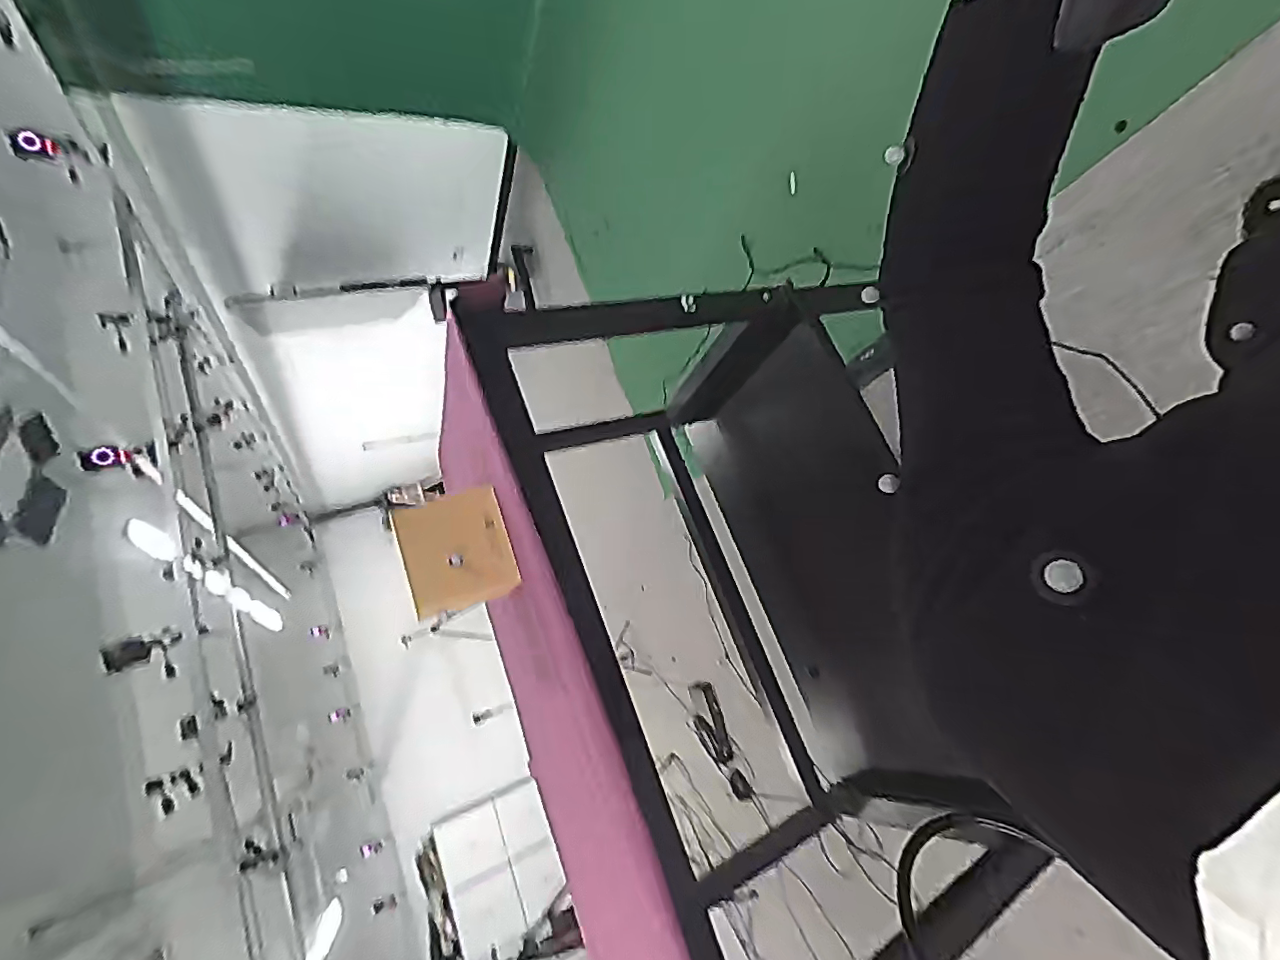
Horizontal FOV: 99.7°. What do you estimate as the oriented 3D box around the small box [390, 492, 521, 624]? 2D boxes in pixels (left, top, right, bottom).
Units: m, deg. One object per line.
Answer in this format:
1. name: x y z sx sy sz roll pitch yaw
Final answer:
1. small box: -0.314 0.134 0.929 0.168 0.176 0.179 69 154 11
